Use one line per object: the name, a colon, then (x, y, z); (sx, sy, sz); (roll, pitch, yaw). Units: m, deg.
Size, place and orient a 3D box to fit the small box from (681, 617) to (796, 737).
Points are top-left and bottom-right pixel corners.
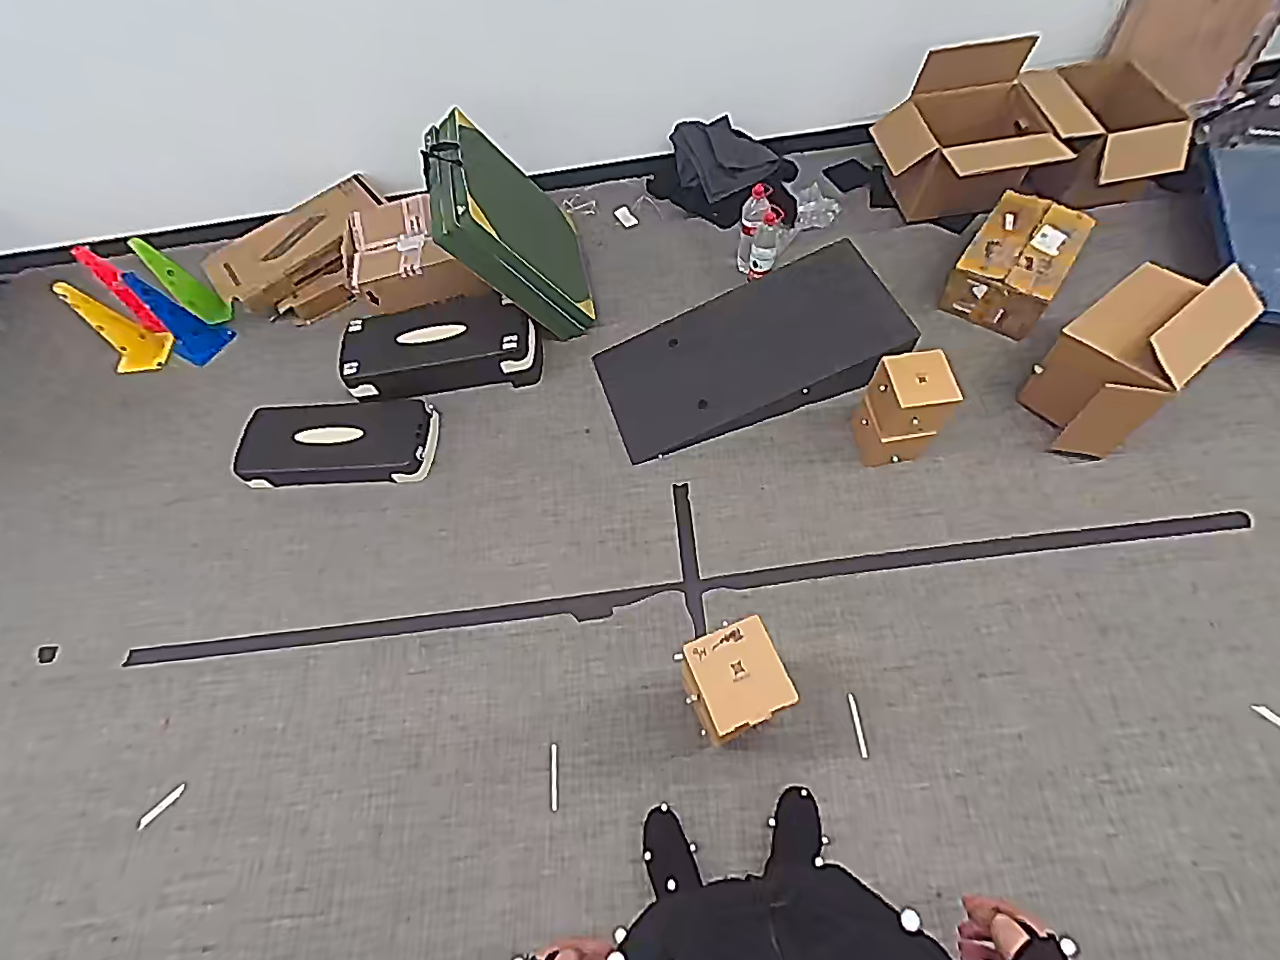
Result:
small box: (0.194, 0.404, 1.102); (0.168, 0.176, 0.179); (-21, 64, -5)
